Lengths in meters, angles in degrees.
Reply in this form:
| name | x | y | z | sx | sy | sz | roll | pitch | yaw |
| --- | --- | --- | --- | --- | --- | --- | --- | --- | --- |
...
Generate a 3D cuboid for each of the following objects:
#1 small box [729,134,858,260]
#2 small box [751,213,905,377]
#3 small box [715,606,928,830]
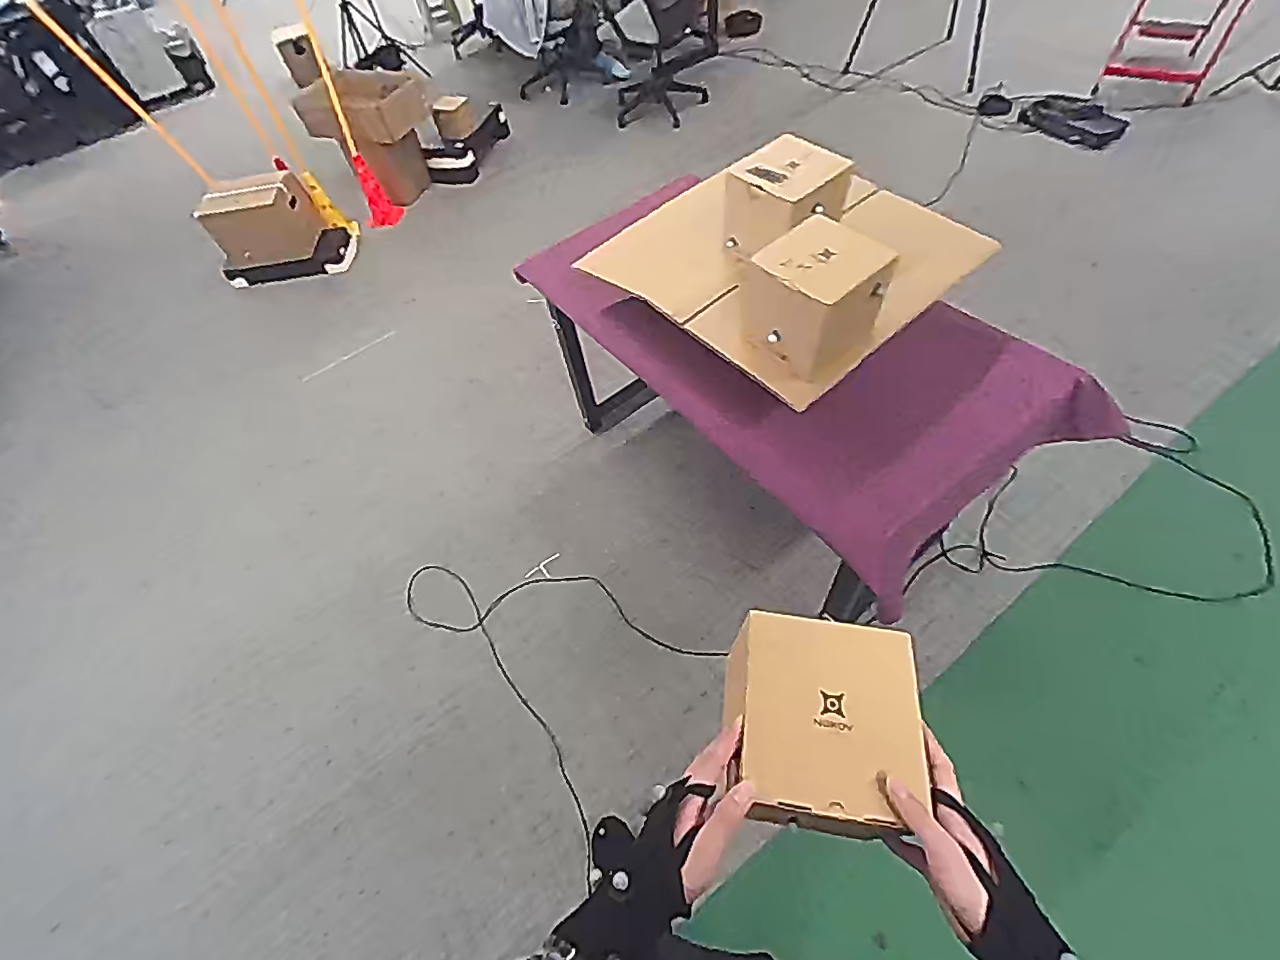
| name | x | y | z | sx | sy | sz | roll | pitch | yaw |
| --- | --- | --- | --- | --- | --- | --- | --- | --- | --- |
| small box | 0.292 | -0.537 | 1.067 | 0.179 | 0.176 | 0.168 | -37 | 62 | -17 |
| small box | 0.307 | -0.313 | 0.926 | 0.179 | 0.176 | 0.168 | -37 | 61 | -16 |
| small box | 0.173 | 0.255 | 0.573 | 0.168 | 0.176 | 0.179 | 7 | 57 | 4 |
